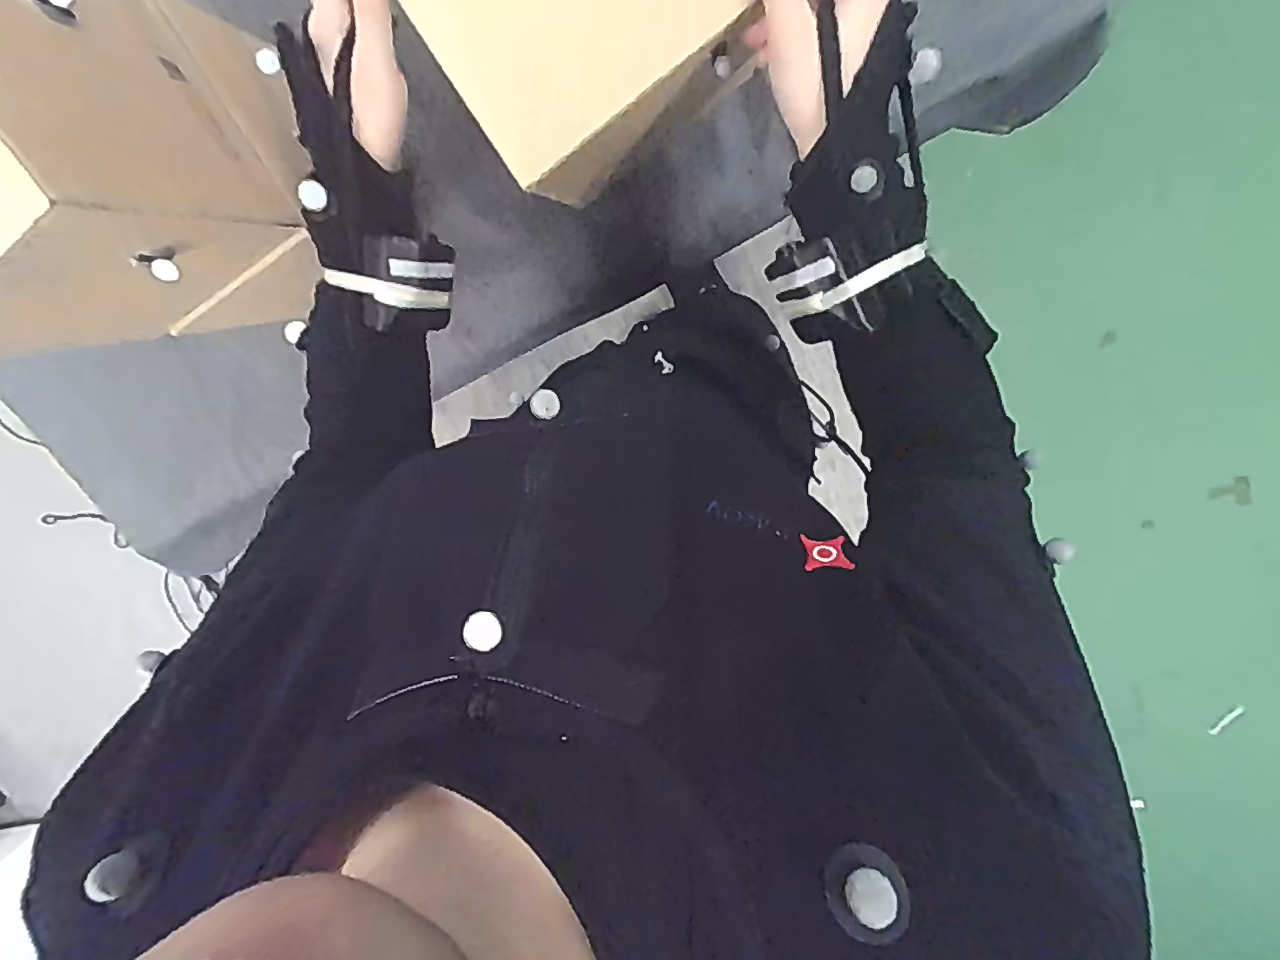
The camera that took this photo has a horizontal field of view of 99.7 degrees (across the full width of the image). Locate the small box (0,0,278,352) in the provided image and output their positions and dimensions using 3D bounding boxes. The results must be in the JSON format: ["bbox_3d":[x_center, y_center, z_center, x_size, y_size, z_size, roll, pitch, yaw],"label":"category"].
[{"bbox_3d":[-0.371,-0.197,0.331,0.179,0.176,0.168,-25,106,17],"label":"small box"}]

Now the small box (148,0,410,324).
[{"bbox_3d":[-0.348,-0.261,0.479,0.168,0.176,0.179,-24,108,15],"label":"small box"}]
